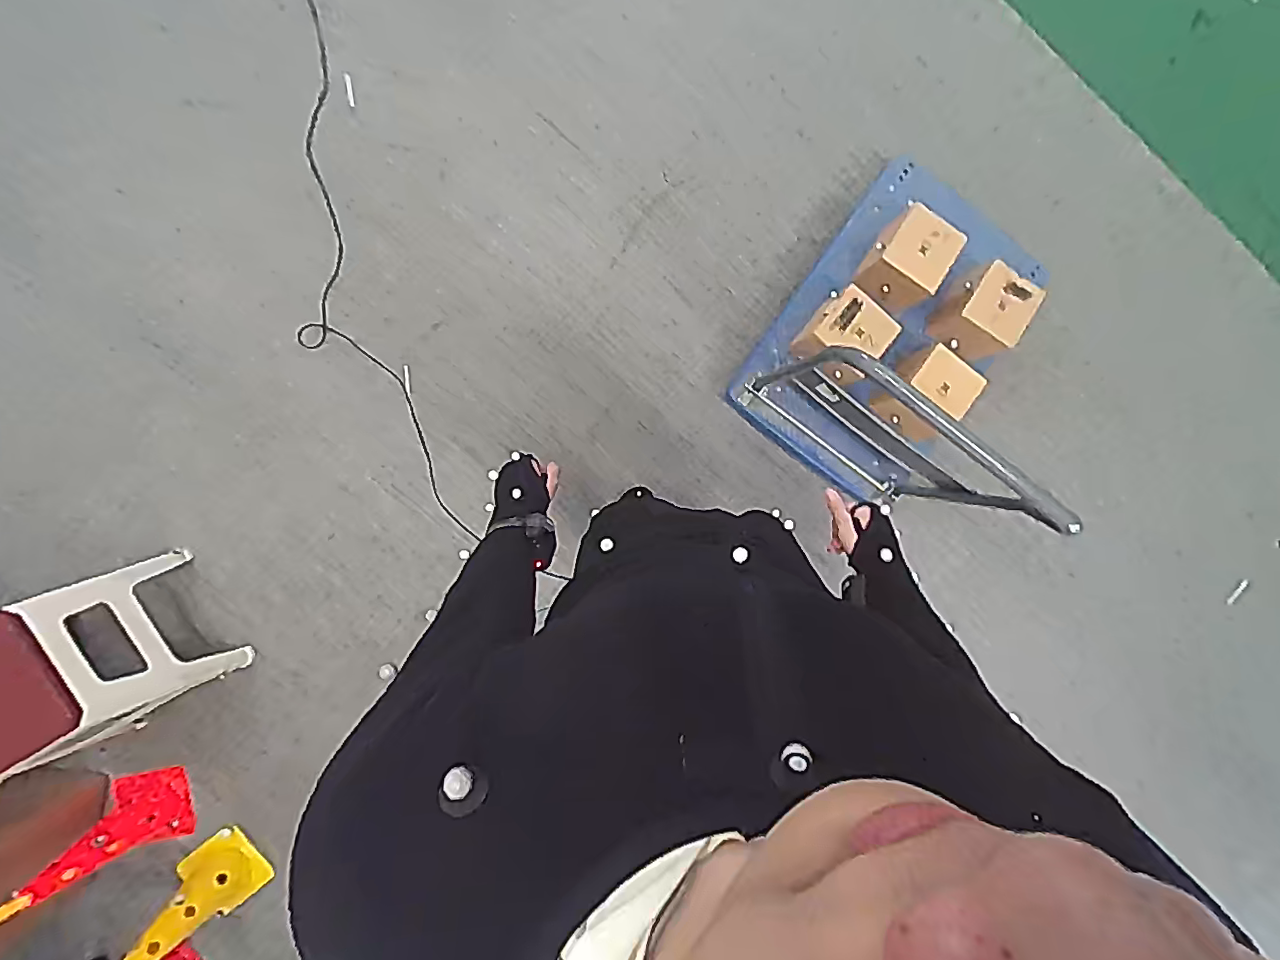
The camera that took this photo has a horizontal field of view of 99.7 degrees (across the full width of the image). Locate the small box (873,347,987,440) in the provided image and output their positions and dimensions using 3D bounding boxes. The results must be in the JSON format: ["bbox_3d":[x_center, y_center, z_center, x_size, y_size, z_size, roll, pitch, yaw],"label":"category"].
[{"bbox_3d":[0.765,-0.224,1.447,0.168,0.176,0.179,37,88,-4],"label":"small box"}]

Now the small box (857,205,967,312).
[{"bbox_3d":[0.709,-0.578,1.438,0.168,0.176,0.179,33,88,-5],"label":"small box"}]

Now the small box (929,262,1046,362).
[{"bbox_3d":[0.923,-0.444,1.456,0.168,0.176,0.179,33,89,-3],"label":"small box"}]
